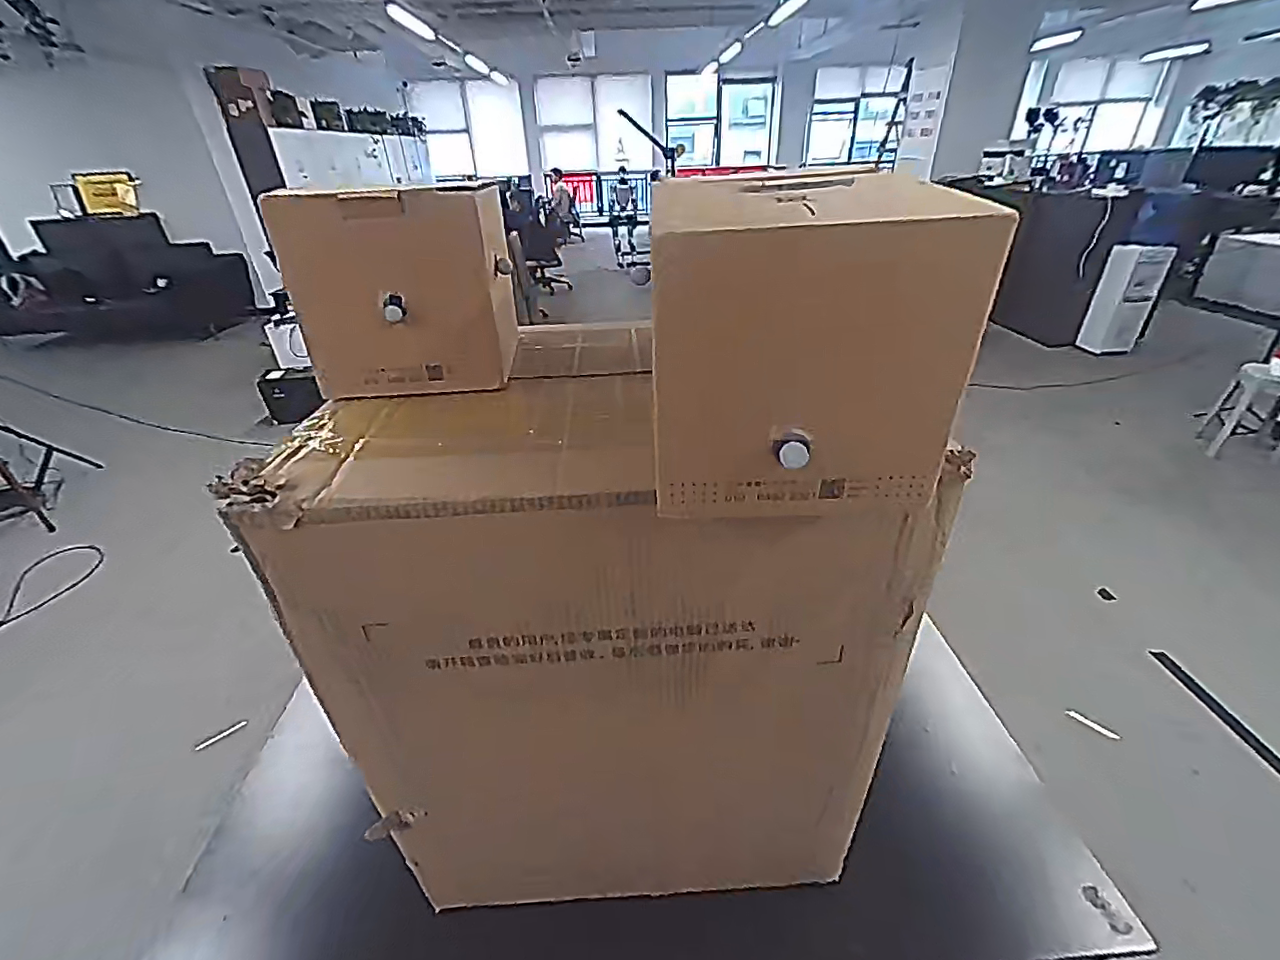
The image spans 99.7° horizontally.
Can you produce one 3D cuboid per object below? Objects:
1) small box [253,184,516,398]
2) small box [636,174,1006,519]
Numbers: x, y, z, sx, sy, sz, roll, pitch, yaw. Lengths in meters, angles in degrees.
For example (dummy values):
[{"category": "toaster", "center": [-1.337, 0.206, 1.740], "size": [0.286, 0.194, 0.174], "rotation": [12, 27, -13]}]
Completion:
[{"category": "small box", "center": [-0.221, -0.185, 0.529], "size": [0.168, 0.176, 0.179], "rotation": [-5, 31, -4]}, {"category": "small box", "center": [0.089, -0.092, 0.355], "size": [0.168, 0.176, 0.179], "rotation": [-2, 35, 5]}]
